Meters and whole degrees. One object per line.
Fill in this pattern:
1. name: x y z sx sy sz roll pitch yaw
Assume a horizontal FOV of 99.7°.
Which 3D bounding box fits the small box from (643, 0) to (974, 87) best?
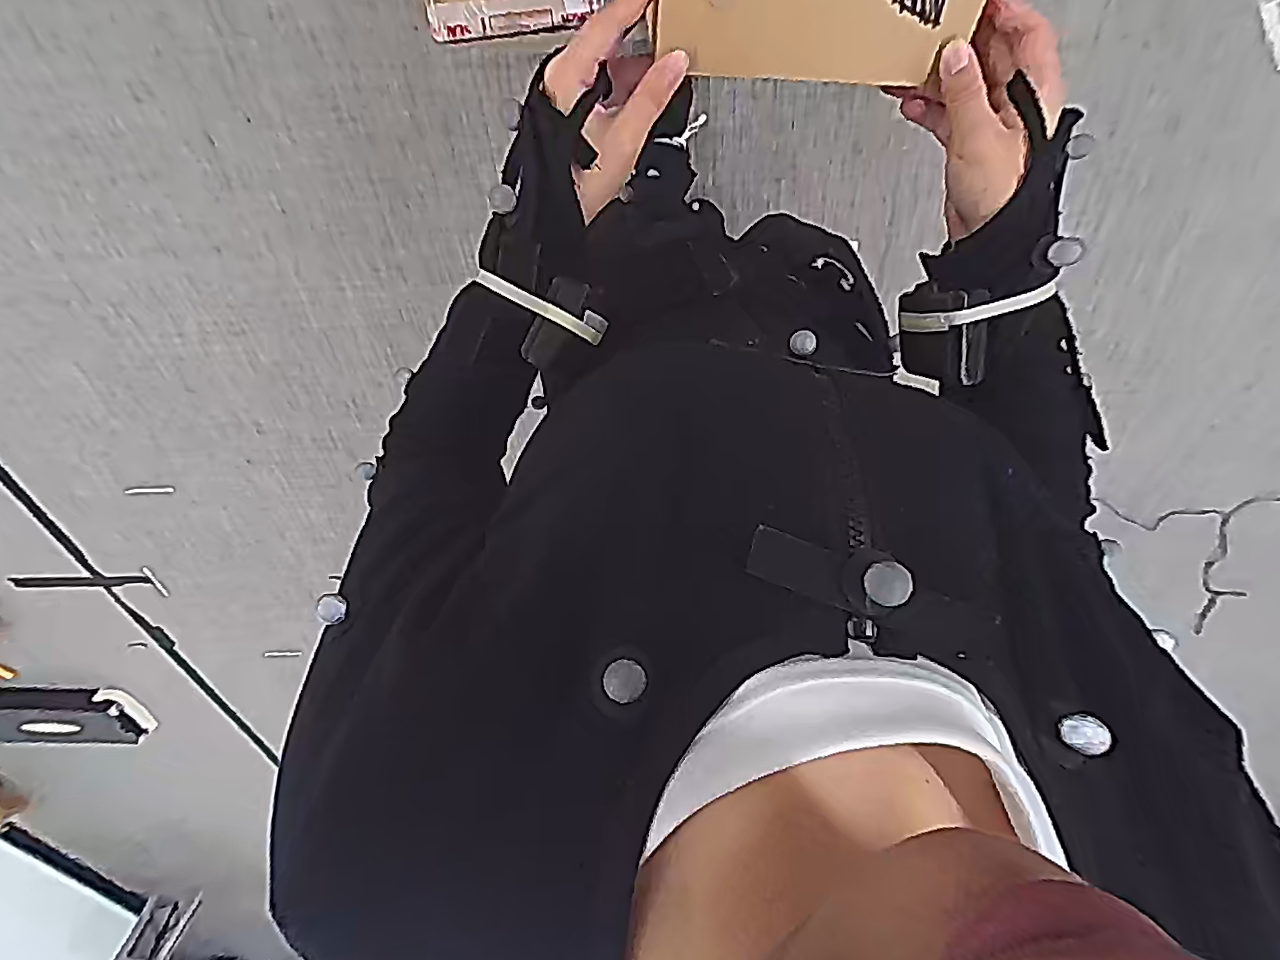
1. small box: 0.094 -0.348 0.307 0.179 0.176 0.168 1 139 -2
